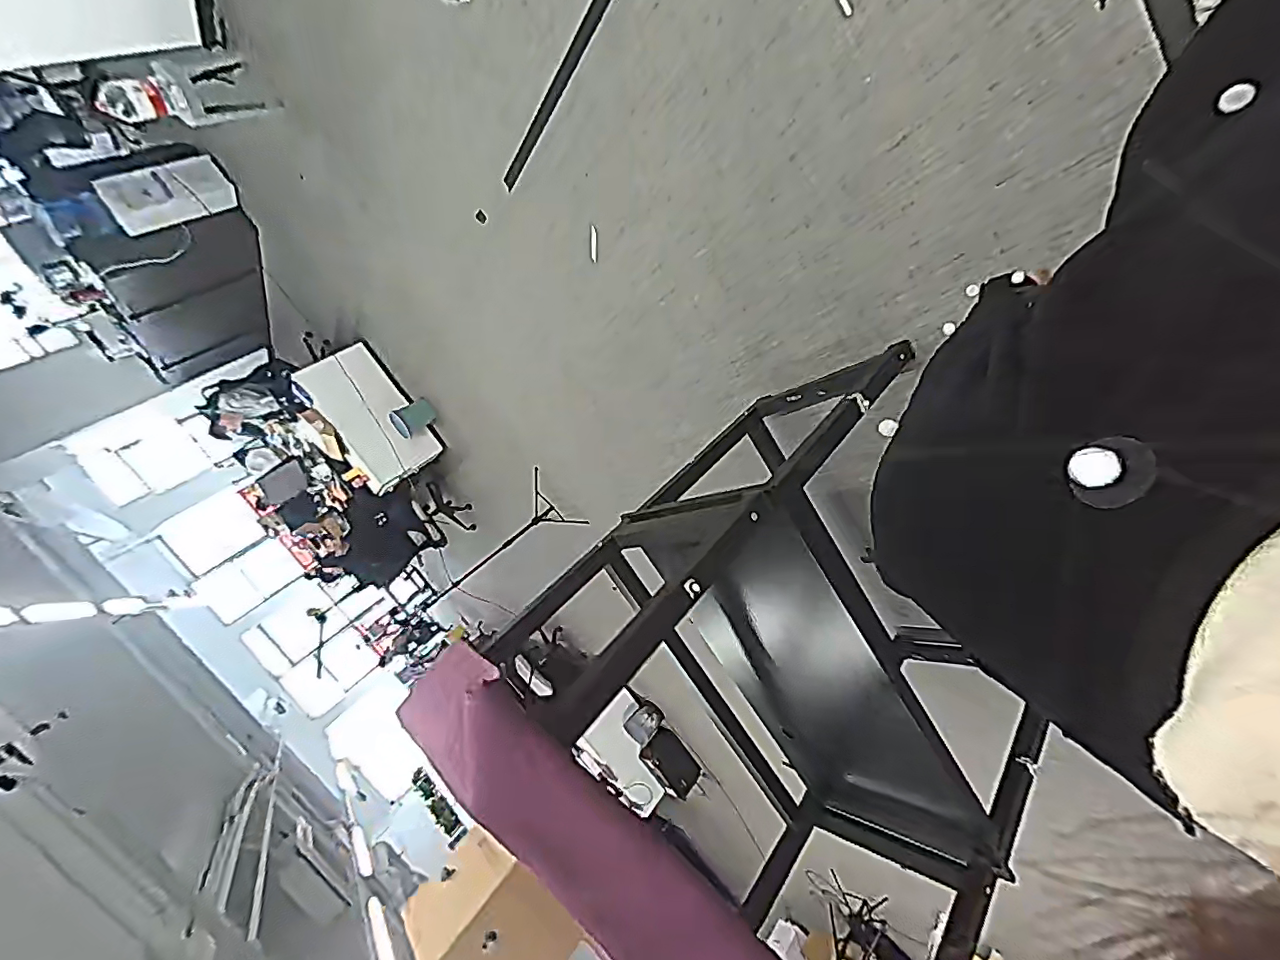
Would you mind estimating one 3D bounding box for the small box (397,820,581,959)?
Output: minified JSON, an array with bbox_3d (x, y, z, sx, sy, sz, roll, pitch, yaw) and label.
[{"bbox_3d":[-0.223,0.659,0.808,0.168,0.176,0.179,-12,116,56],"label":"small box"}]
